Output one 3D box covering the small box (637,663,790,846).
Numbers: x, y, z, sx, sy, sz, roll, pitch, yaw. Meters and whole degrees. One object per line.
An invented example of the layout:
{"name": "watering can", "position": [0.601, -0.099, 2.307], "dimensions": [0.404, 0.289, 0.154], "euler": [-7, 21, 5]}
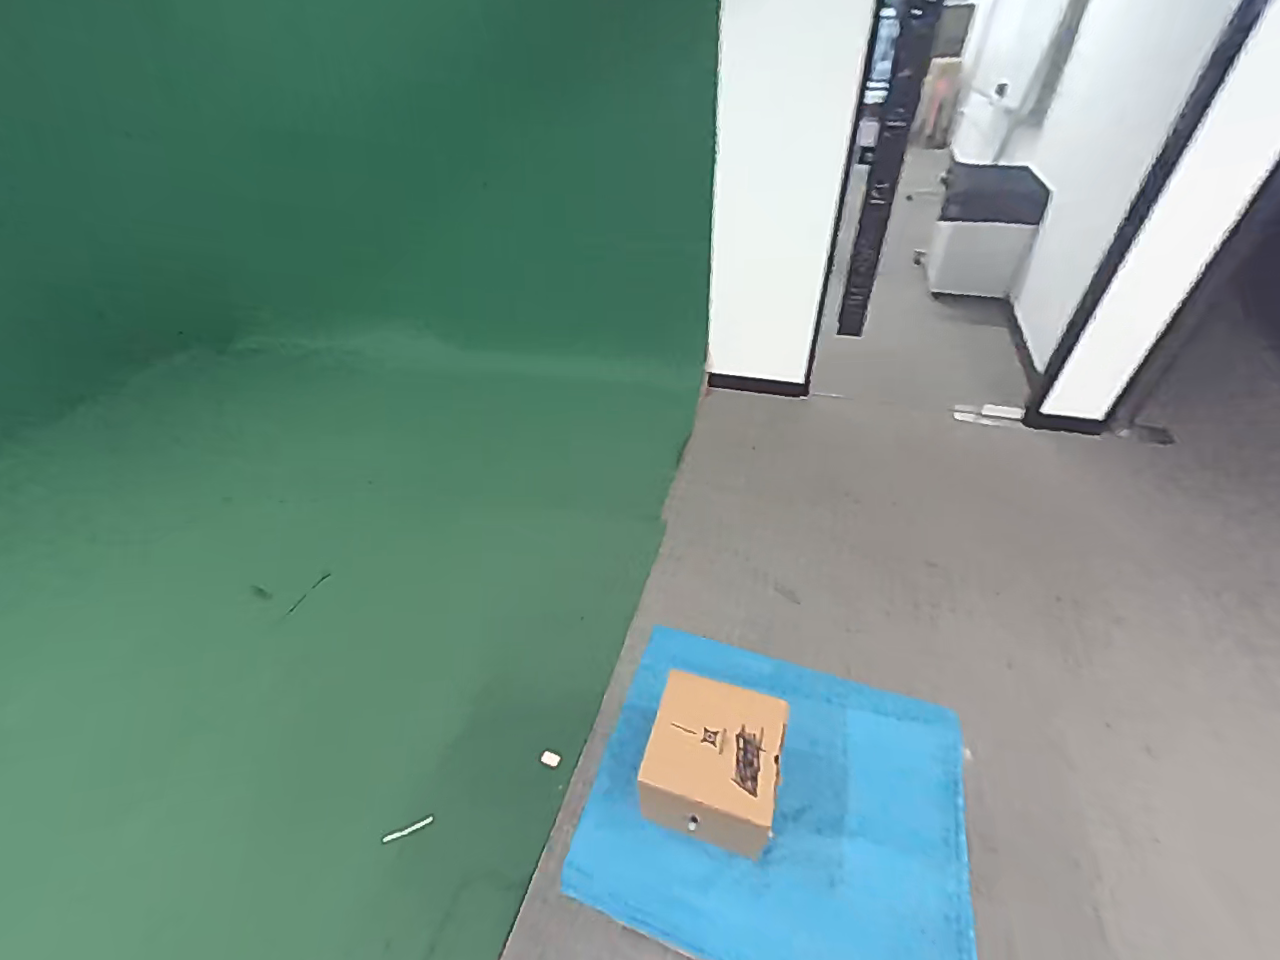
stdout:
{"name": "small box", "position": [0.106, 0.399, 0.783], "dimensions": [0.179, 0.176, 0.168], "euler": [11, 45, 16]}
